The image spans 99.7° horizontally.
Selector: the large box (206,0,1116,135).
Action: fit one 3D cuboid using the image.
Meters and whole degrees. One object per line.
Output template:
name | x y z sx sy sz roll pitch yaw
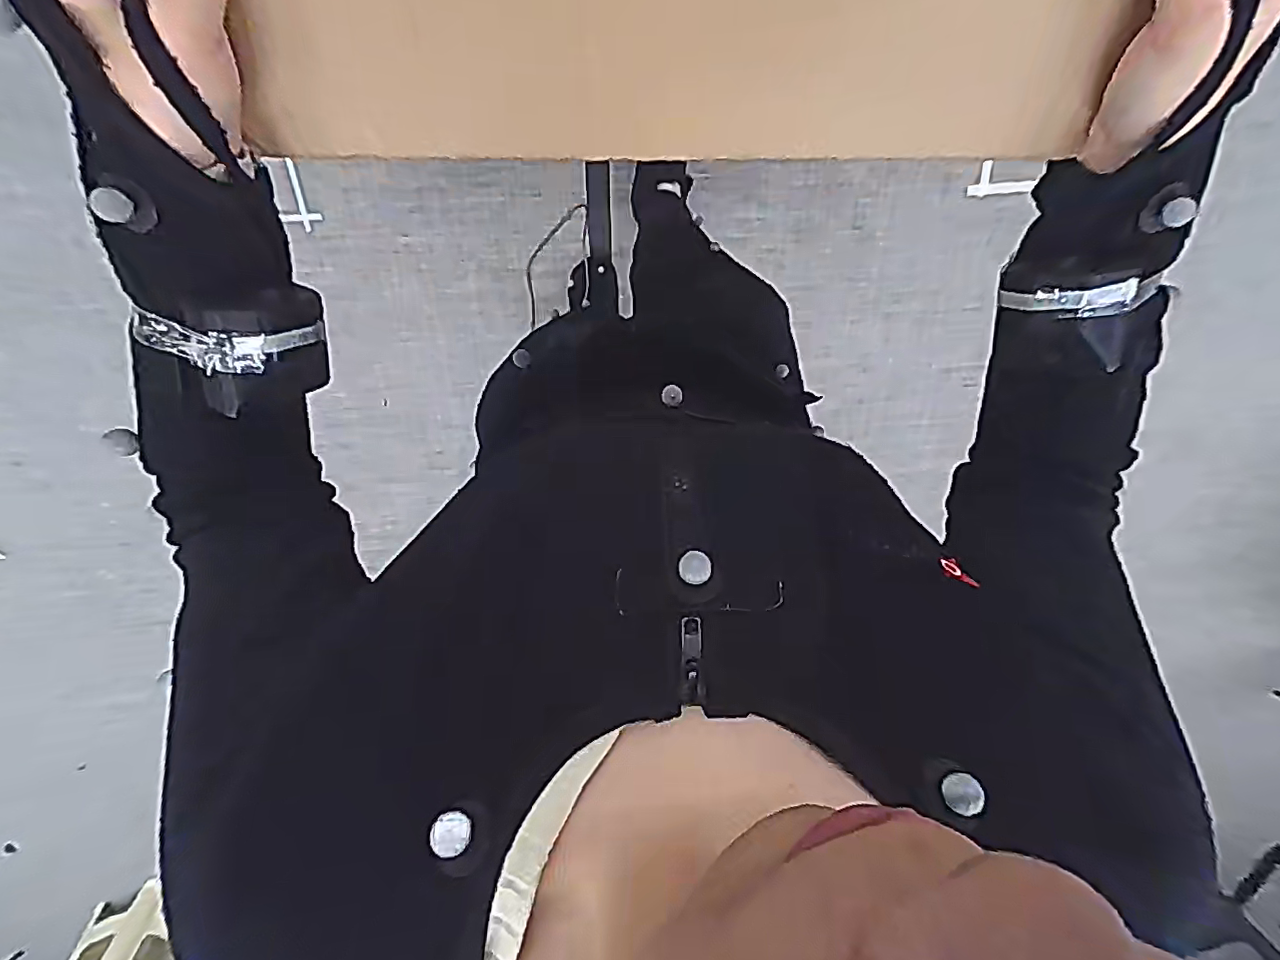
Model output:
large box | 0.006 -0.388 0.267 0.408 0.320 0.320 -2 135 -3
